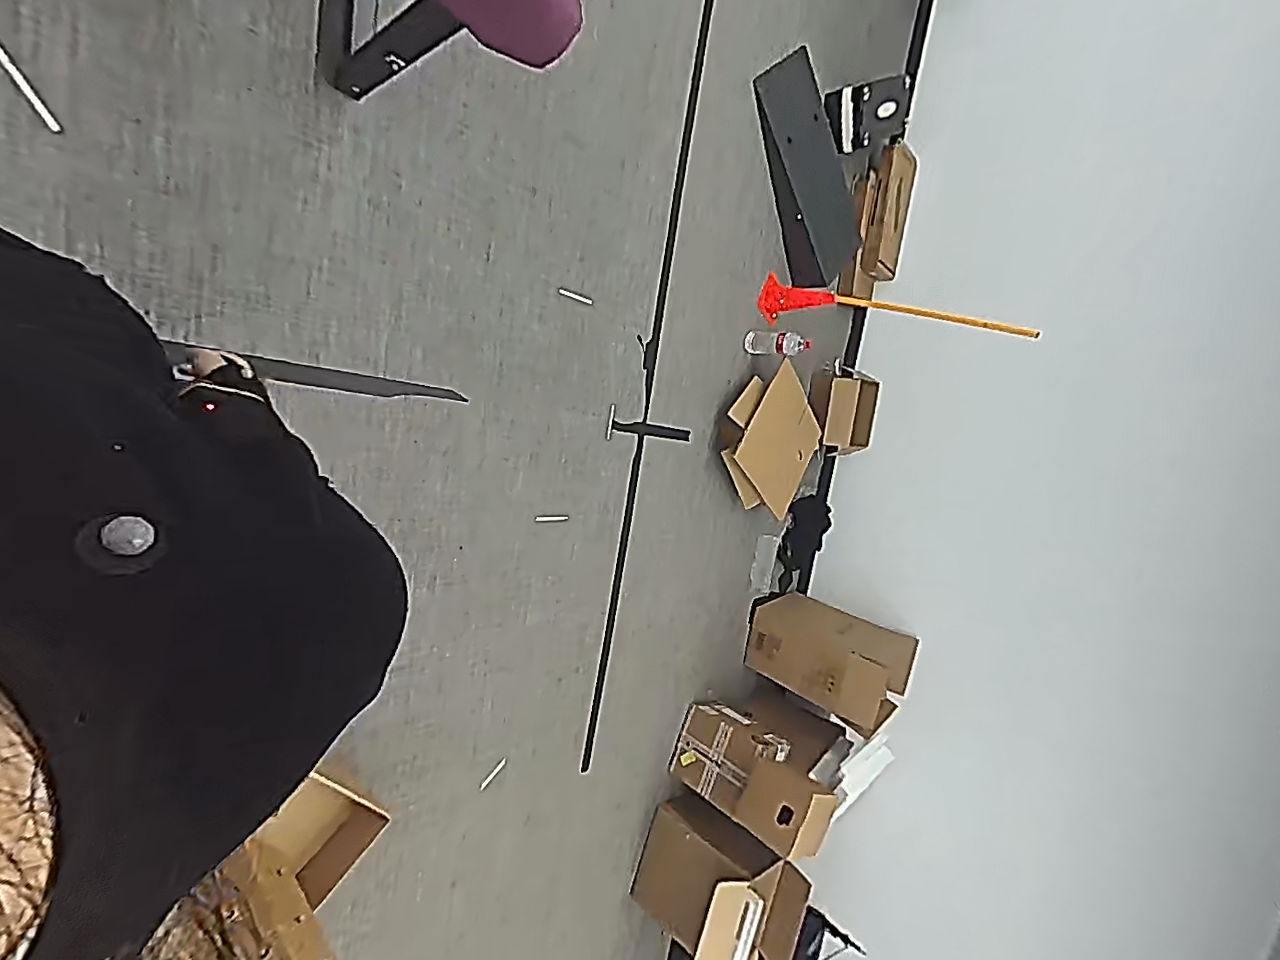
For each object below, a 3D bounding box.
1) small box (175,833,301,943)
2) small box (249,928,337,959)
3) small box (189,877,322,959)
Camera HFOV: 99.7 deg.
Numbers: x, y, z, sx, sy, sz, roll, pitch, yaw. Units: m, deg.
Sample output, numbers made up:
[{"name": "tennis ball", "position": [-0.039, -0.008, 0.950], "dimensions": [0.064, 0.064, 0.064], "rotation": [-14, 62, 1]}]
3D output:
[{"name": "small box", "position": [-1.001, 1.028, 1.348], "dimensions": [0.168, 0.176, 0.179], "rotation": [-46, 133, -30]}, {"name": "small box", "position": [-0.757, 1.102, 1.143], "dimensions": [0.168, 0.176, 0.179], "rotation": [-48, 135, -28]}, {"name": "small box", "position": [-0.881, 1.065, 1.244], "dimensions": [0.168, 0.176, 0.179], "rotation": [-48, 133, -29]}]
